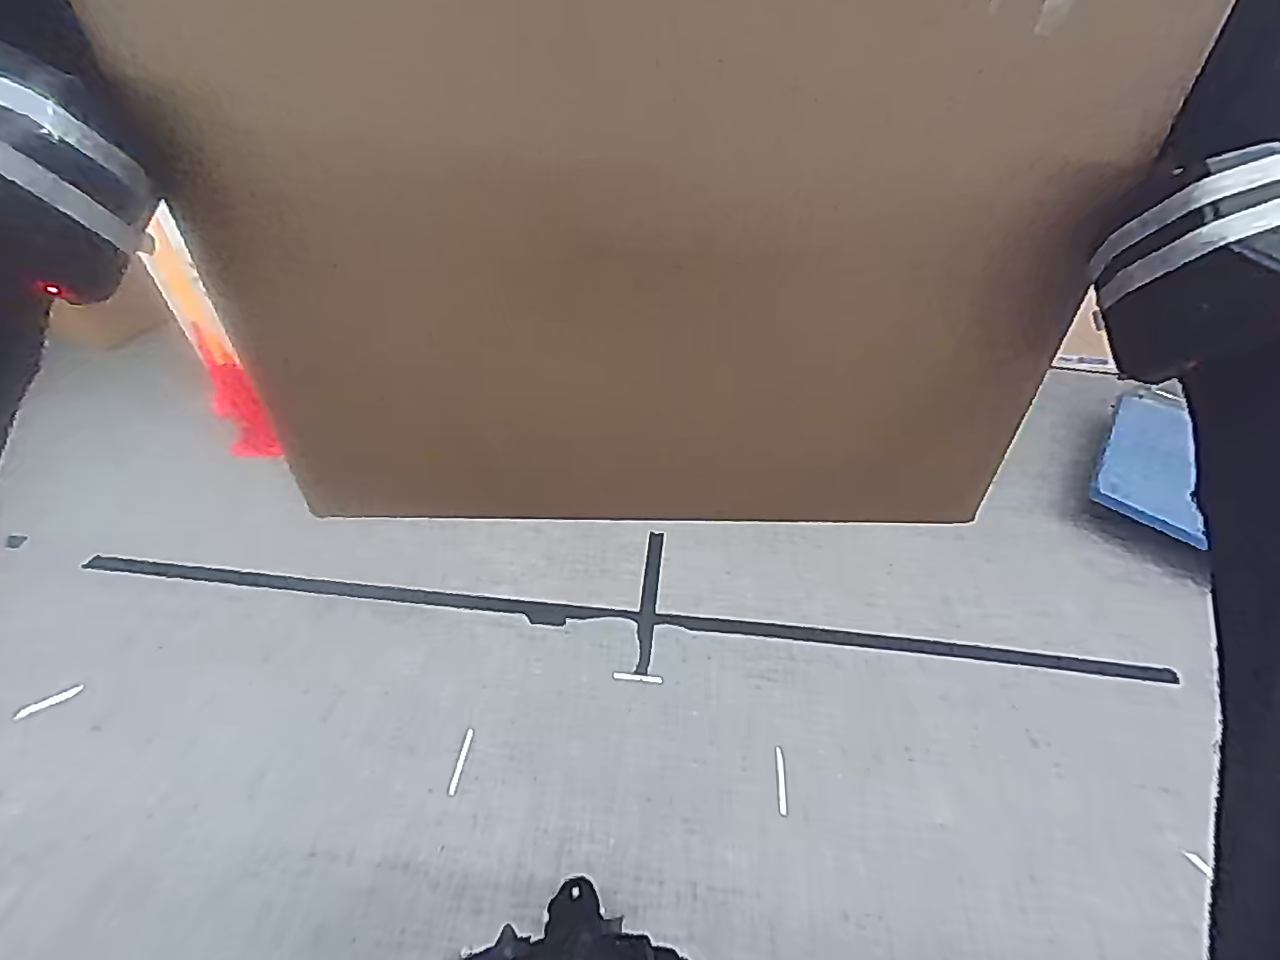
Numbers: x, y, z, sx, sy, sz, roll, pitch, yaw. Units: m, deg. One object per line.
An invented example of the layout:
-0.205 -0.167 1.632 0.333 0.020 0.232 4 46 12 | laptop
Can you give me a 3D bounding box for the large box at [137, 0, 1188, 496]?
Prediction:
0.005 -0.199 0.368 0.408 0.320 0.320 1 37 -1 | large box
